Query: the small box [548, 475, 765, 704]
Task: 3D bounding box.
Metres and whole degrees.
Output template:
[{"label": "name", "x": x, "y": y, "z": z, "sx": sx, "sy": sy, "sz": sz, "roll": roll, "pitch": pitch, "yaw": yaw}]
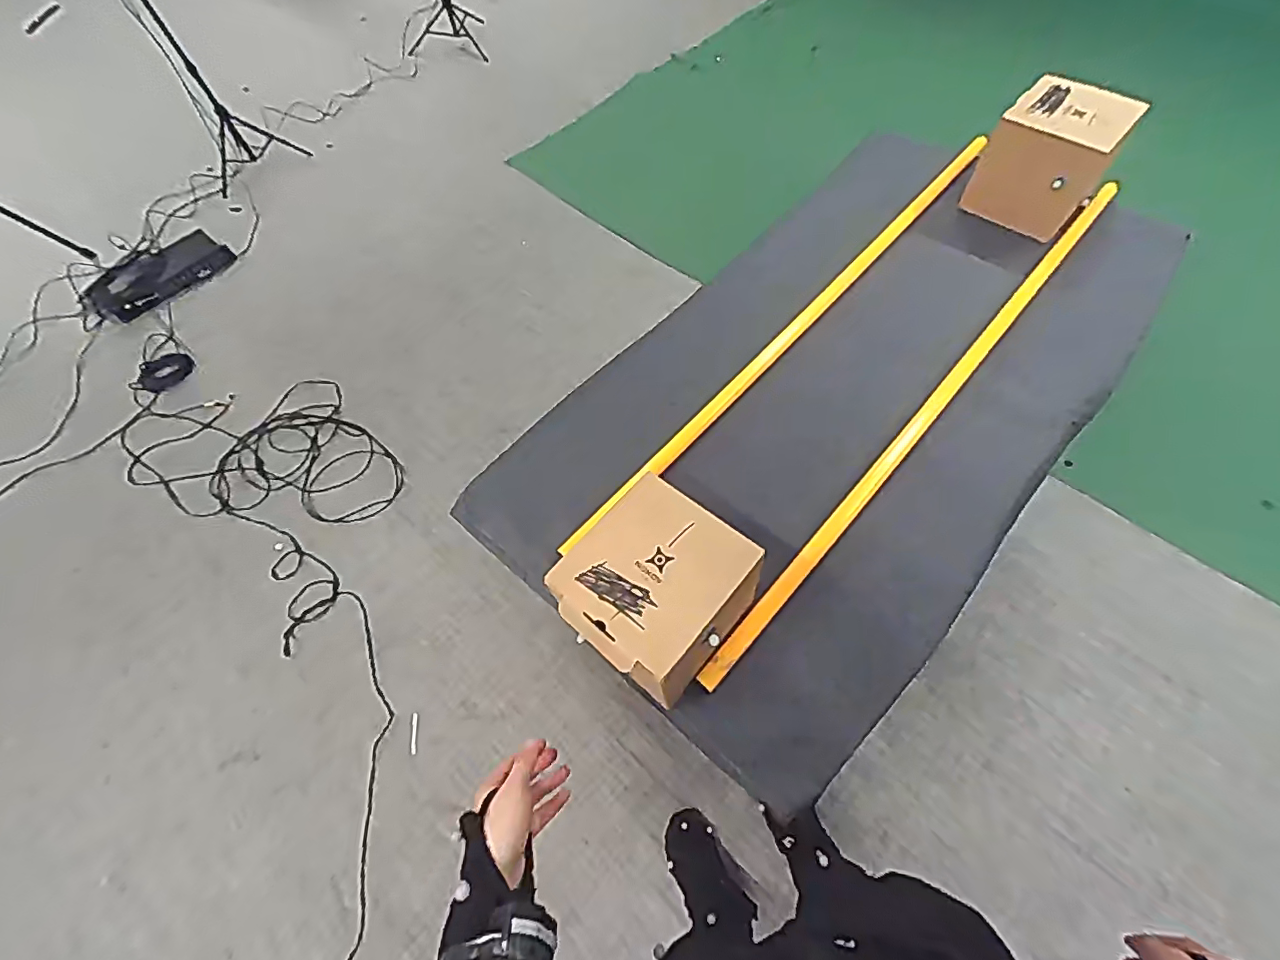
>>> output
[{"label": "small box", "x": 0.025, "y": 0.135, "z": 0.635, "sx": 0.168, "sy": 0.176, "sz": 0.179, "roll": 35, "pitch": 68, "yaw": 23}]
